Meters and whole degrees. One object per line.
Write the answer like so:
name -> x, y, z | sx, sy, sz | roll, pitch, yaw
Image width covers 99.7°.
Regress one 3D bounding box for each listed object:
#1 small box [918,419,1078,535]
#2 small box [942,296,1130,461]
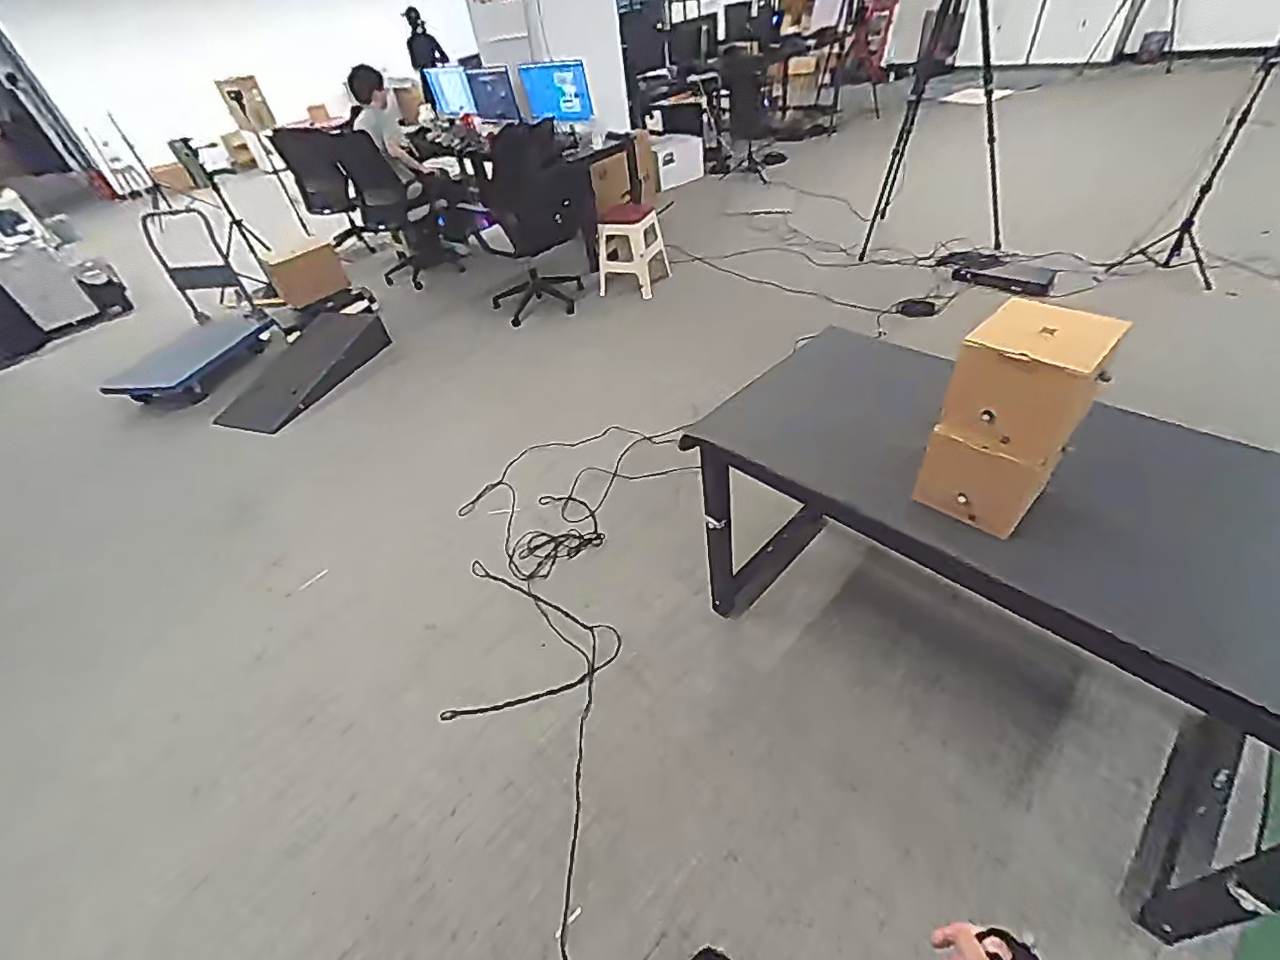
small box -> 0.621, -0.037, 0.956 | 0.179, 0.176, 0.168 | -36, 47, -27
small box -> 0.608, -0.161, 0.851 | 0.179, 0.176, 0.168 | -36, 48, -26
